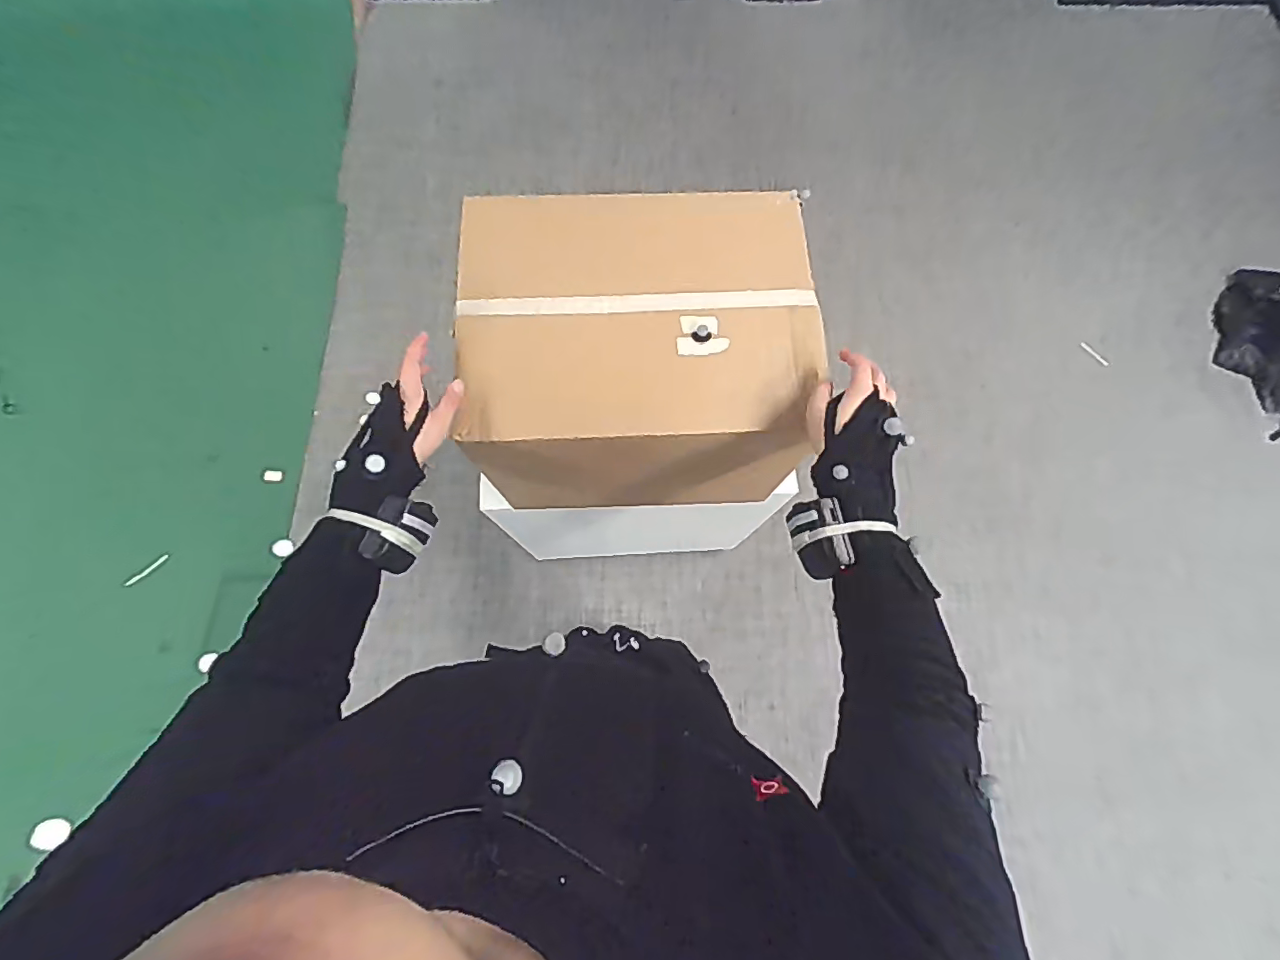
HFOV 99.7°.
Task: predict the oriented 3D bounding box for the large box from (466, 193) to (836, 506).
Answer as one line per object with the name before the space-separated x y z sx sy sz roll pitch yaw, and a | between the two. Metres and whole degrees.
large box | -0.002 -0.156 0.755 0.408 0.320 0.320 -2 74 -3
